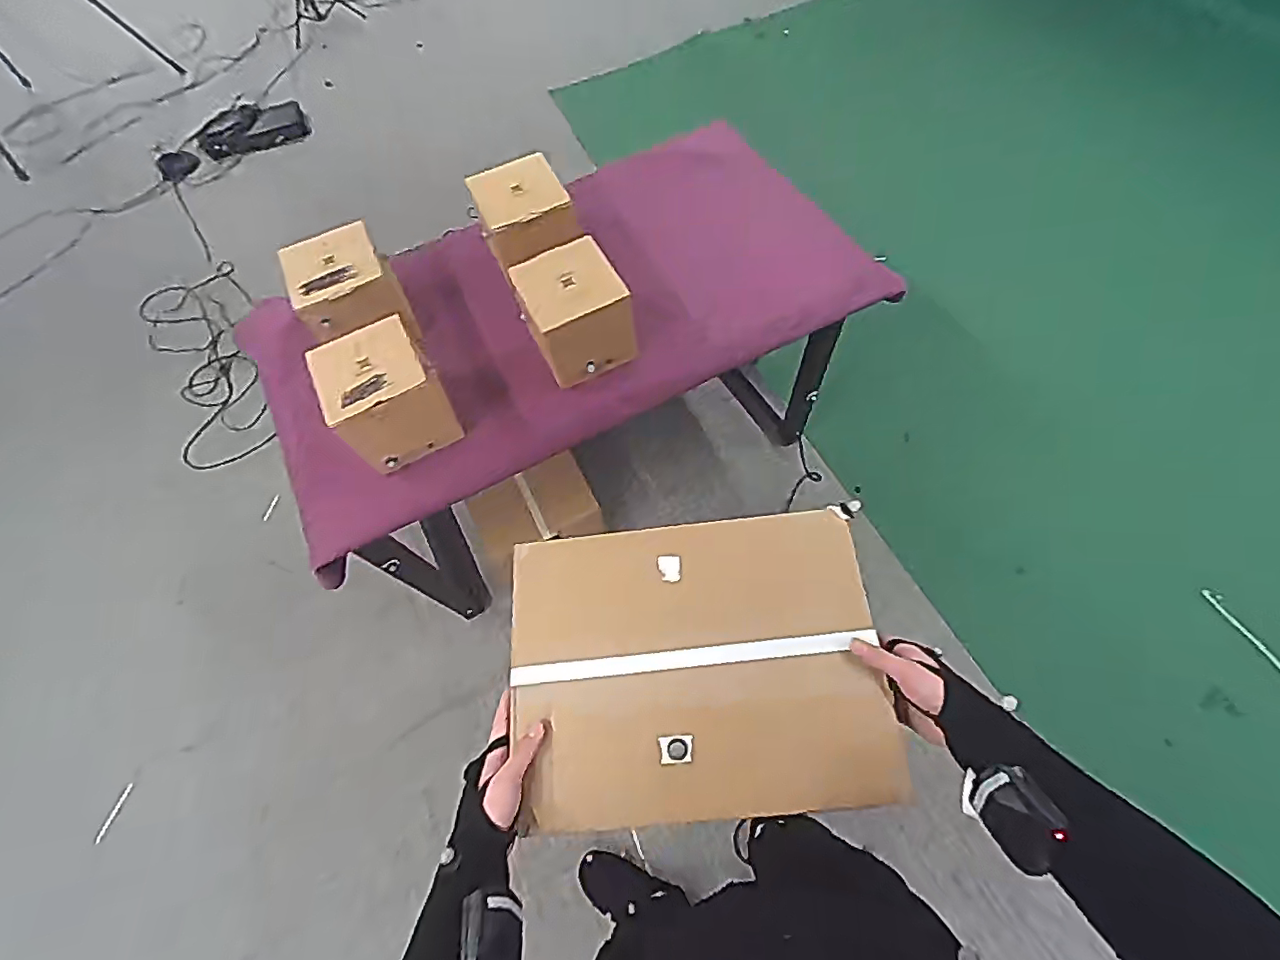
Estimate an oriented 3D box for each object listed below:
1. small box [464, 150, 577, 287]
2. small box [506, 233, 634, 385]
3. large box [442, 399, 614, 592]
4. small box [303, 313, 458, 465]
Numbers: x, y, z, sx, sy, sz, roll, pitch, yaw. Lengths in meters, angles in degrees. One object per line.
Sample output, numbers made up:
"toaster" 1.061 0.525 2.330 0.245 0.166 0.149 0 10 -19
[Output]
"small box" -0.236 -0.530 1.115 0.168 0.176 0.179 -25 66 -8
"small box" -0.123 -0.309 0.997 0.168 0.176 0.179 -26 64 -6
"large box" -0.314 0.051 1.577 0.320 0.320 0.408 -27 64 -8
"small box" -0.444 -0.148 0.945 0.168 0.176 0.179 -28 63 -9
